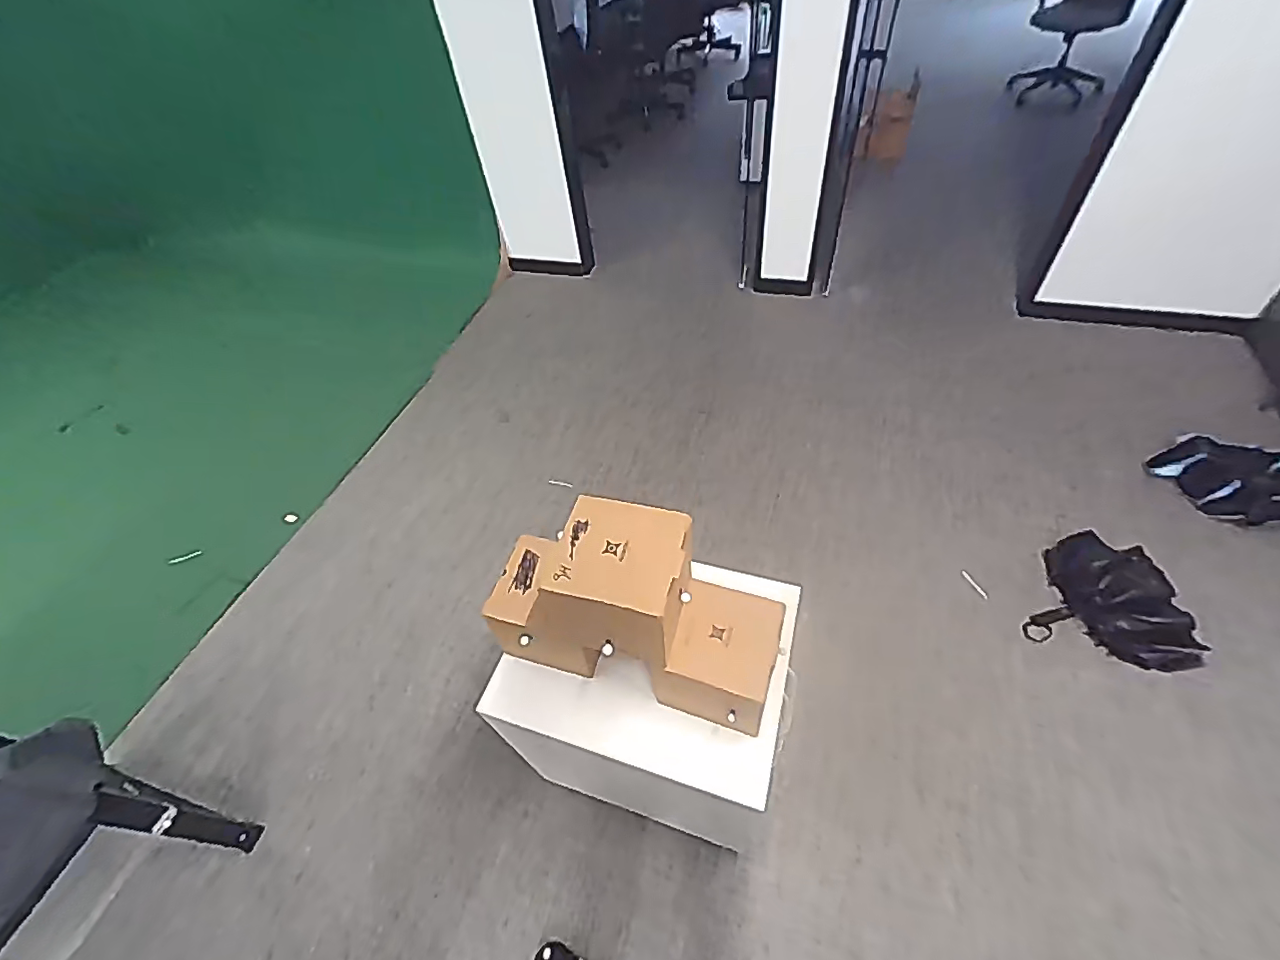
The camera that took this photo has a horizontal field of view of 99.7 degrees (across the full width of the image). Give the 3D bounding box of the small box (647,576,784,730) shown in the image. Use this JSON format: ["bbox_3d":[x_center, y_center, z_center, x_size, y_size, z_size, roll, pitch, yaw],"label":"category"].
[{"bbox_3d":[0.126,0.286,0.886,0.179,0.176,0.168,11,51,18],"label":"small box"}]

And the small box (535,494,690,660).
[{"bbox_3d":[-0.029,0.148,0.805,0.179,0.176,0.168,11,52,13],"label":"small box"}]

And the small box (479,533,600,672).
[{"bbox_3d":[-0.153,0.222,0.968,0.179,0.176,0.168,11,53,13],"label":"small box"}]
